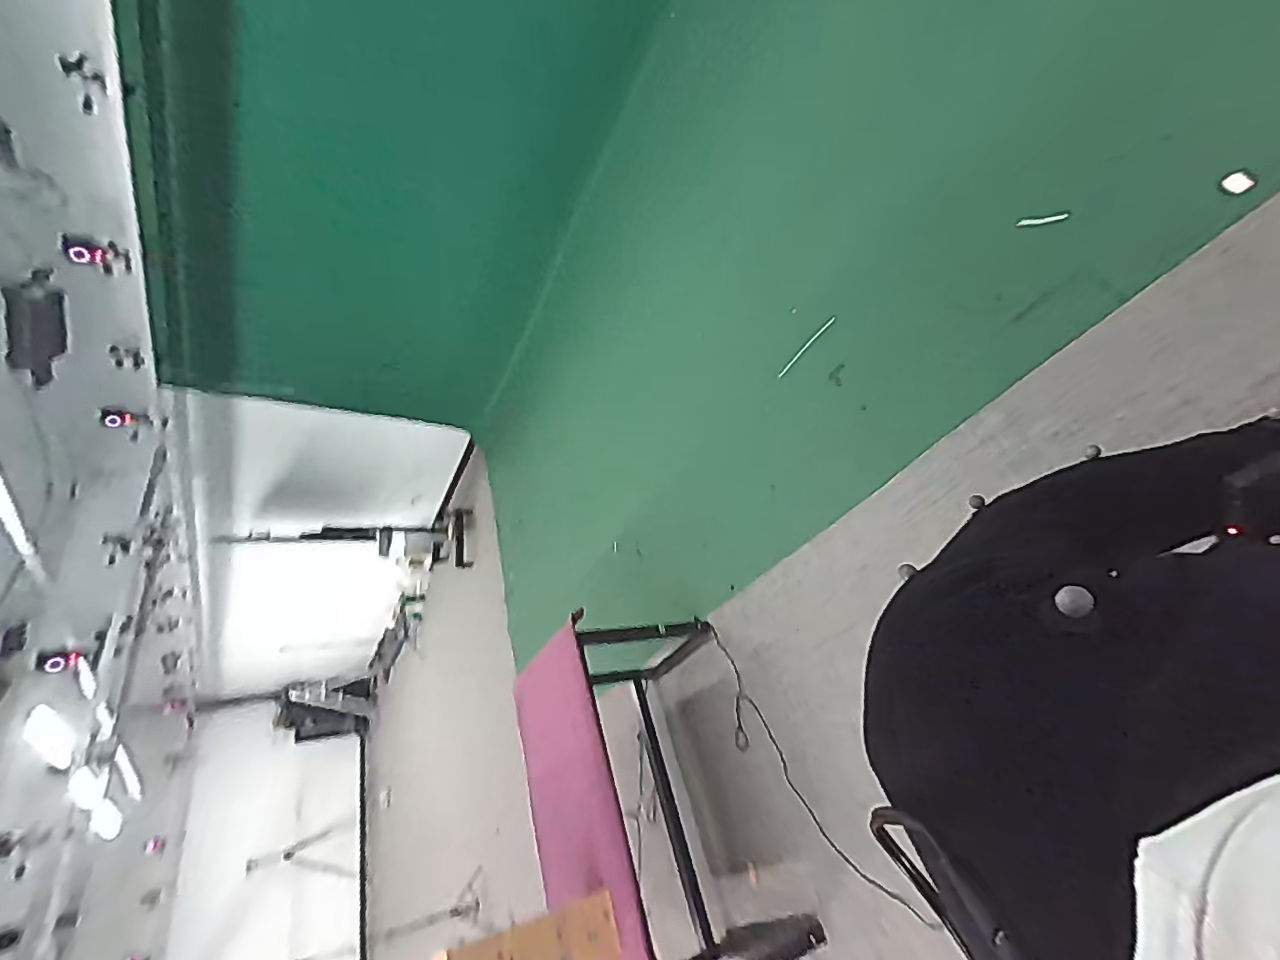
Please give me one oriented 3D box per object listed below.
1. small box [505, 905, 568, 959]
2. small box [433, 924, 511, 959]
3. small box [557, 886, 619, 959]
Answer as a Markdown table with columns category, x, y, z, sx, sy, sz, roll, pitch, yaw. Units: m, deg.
| category | x | y | z | sx | sy | sz | roll | pitch | yaw |
| --- | --- | --- | --- | --- | --- | --- | --- | --- | --- |
| small box | -0.315 | 1.357 | 1.557 | 0.179 | 0.176 | 0.168 | -54 | 44 | 39 |
| small box | -0.456 | 1.346 | 1.474 | 0.179 | 0.176 | 0.168 | -53 | 45 | 39 |
| small box | -0.179 | 1.372 | 1.647 | 0.179 | 0.176 | 0.168 | -54 | 44 | 38 |
